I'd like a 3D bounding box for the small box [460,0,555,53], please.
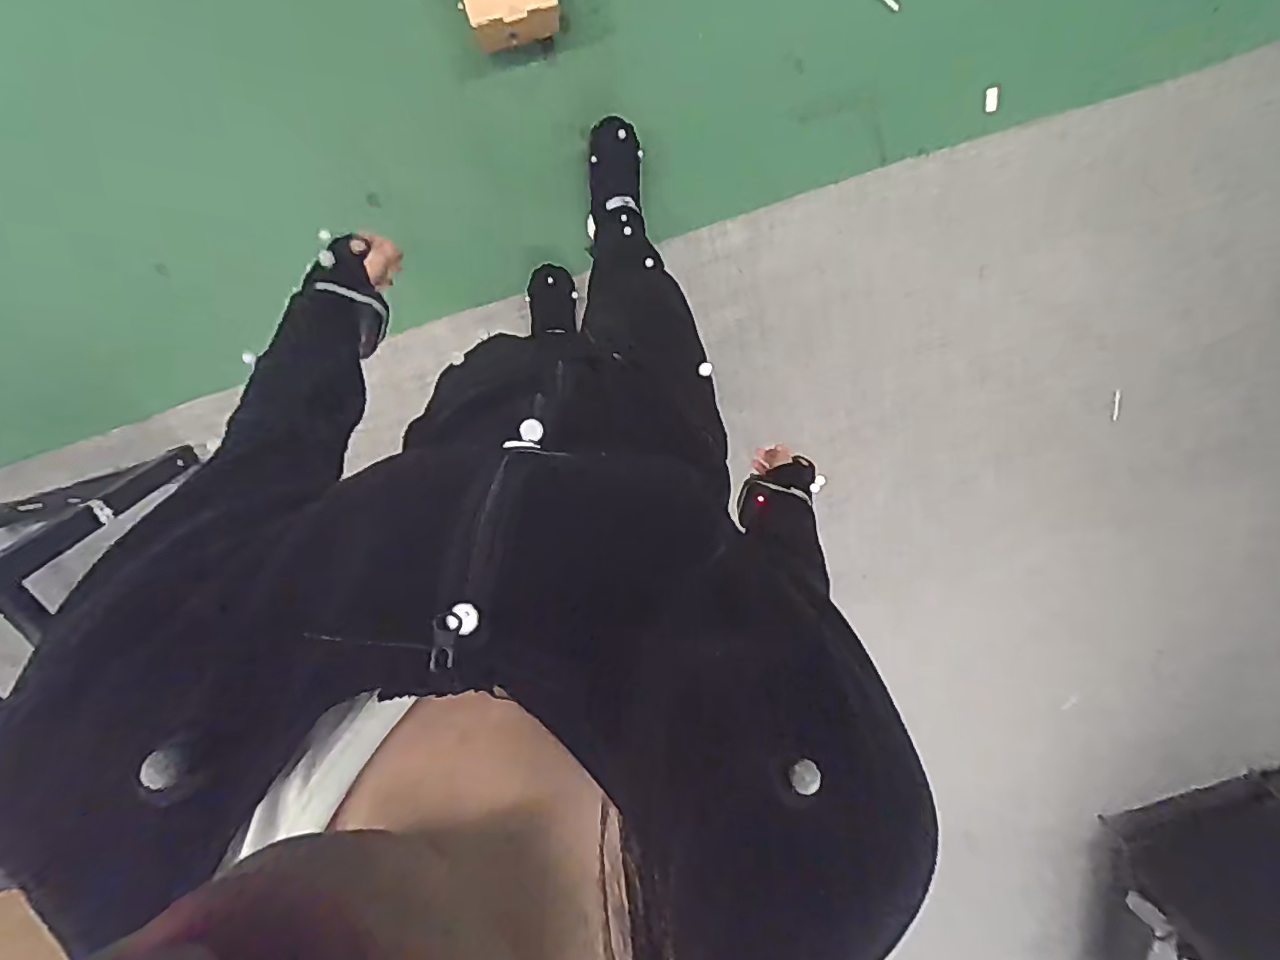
[{"bbox_3d":[-0.264,-0.946,1.014,0.168,0.176,0.179,-16,117,-1],"label":"small box"}]
